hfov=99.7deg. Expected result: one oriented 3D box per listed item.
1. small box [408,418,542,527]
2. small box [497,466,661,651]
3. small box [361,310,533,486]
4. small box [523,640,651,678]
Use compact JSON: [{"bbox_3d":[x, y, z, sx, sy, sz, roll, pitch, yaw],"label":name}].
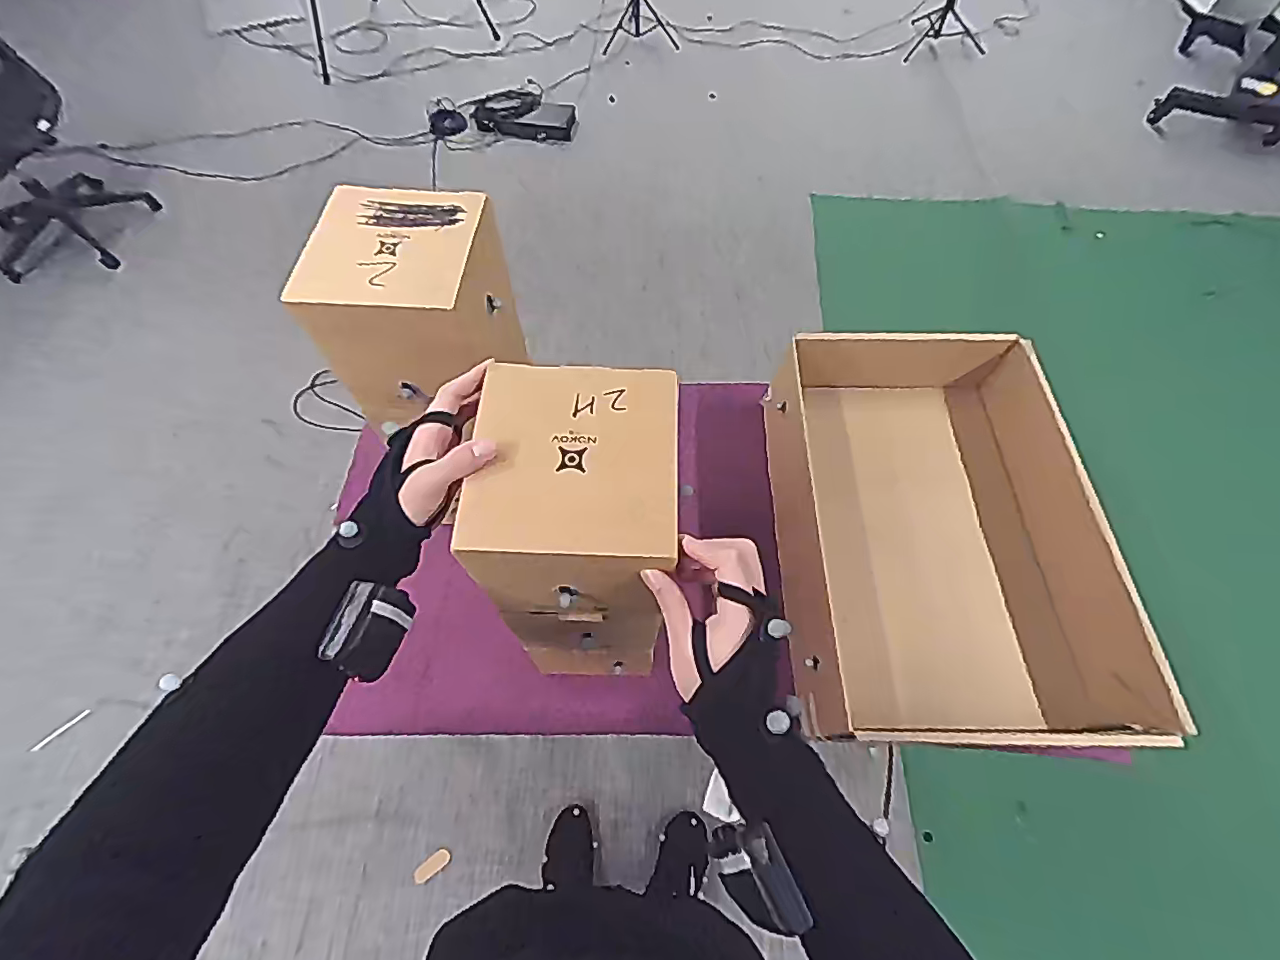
[{"bbox_3d":[-0.261,-0.028,0.901,0.168,0.176,0.179,0,60,-1],"label":"small box"},{"bbox_3d":[-0.061,0.100,0.643,0.168,0.176,0.179,2,61,-2],"label":"small box"},{"bbox_3d":[-0.252,-0.111,0.760,0.168,0.176,0.179,4,61,1],"label":"small box"},{"bbox_3d":[-0.064,0.183,0.784,0.168,0.176,0.179,2,59,-1],"label":"small box"}]
